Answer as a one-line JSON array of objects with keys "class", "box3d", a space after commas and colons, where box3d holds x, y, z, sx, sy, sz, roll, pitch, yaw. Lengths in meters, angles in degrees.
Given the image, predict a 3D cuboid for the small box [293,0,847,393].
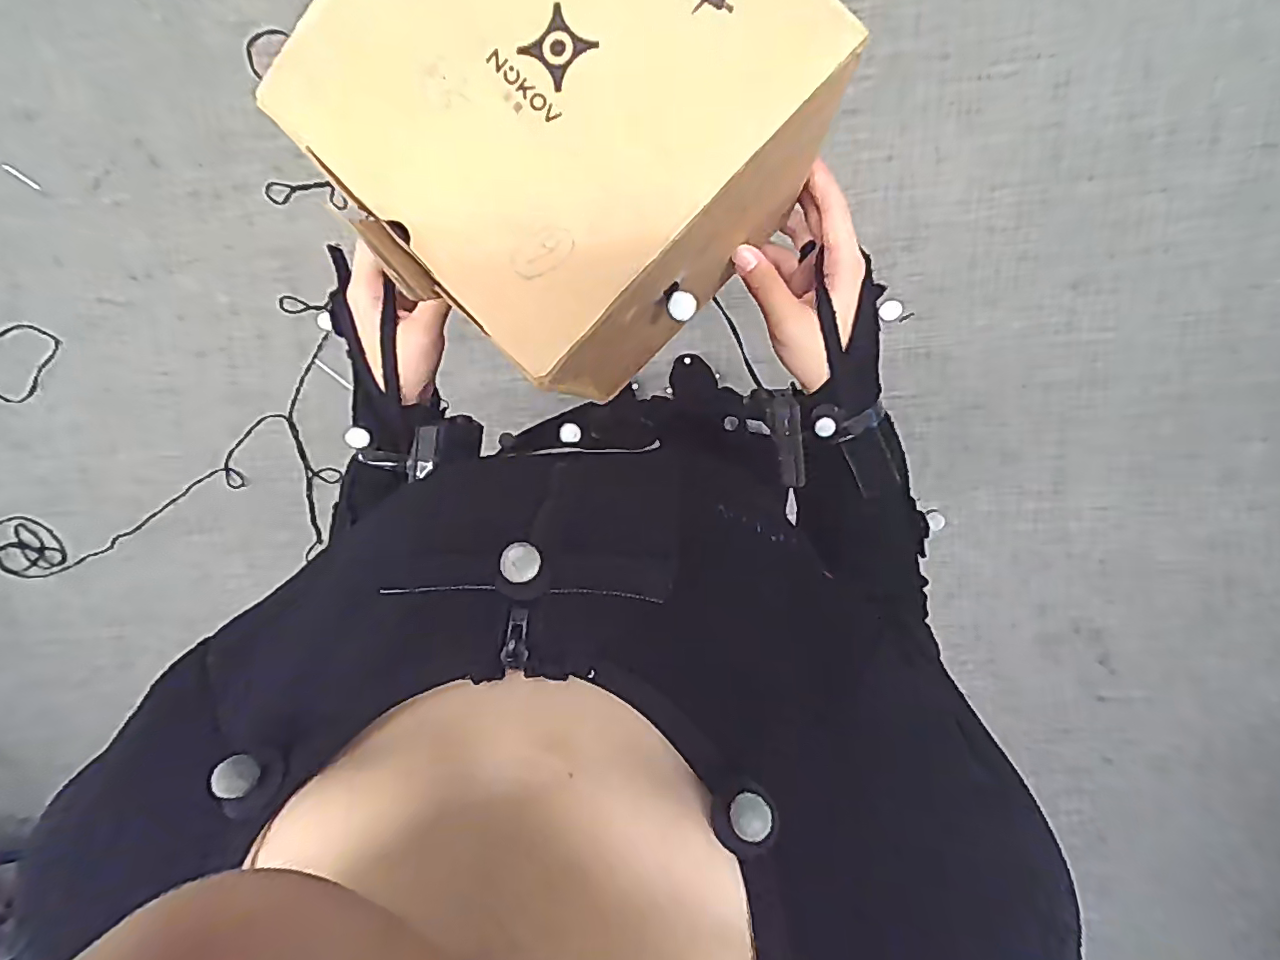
[{"class": "small box", "box3d": [-0.025, -0.163, 0.297, 0.168, 0.176, 0.179, 45, 98, 0]}]
